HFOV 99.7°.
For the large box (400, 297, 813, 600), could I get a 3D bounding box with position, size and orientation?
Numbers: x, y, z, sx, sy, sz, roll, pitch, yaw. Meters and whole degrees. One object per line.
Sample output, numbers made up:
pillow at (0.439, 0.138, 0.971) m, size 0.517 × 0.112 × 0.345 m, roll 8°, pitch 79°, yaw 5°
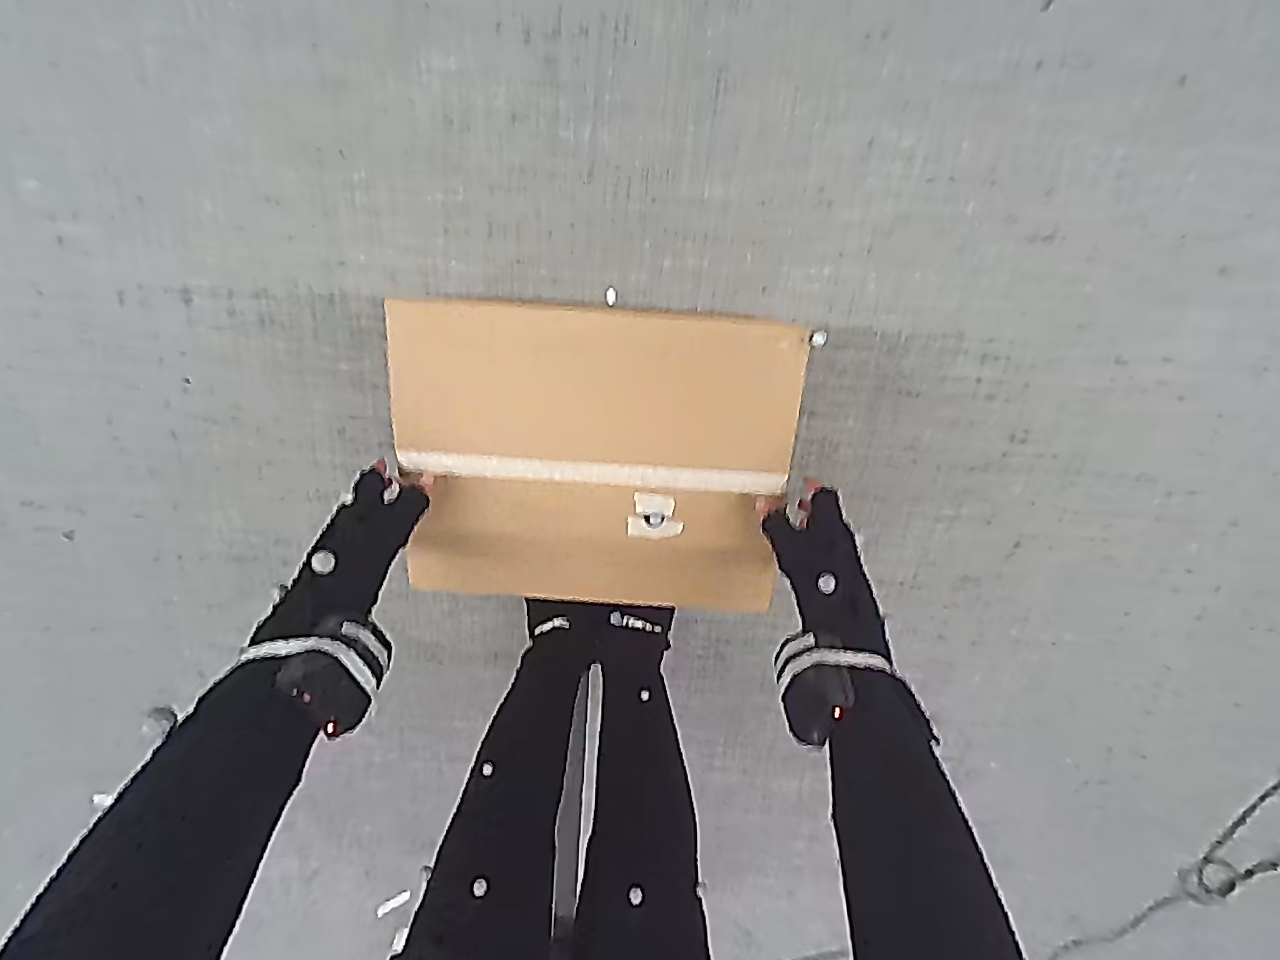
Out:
large box at (-0.040, -0.064, 0.703) m, size 0.408 × 0.320 × 0.320 m, roll 4°, pitch 109°, yaw -1°
